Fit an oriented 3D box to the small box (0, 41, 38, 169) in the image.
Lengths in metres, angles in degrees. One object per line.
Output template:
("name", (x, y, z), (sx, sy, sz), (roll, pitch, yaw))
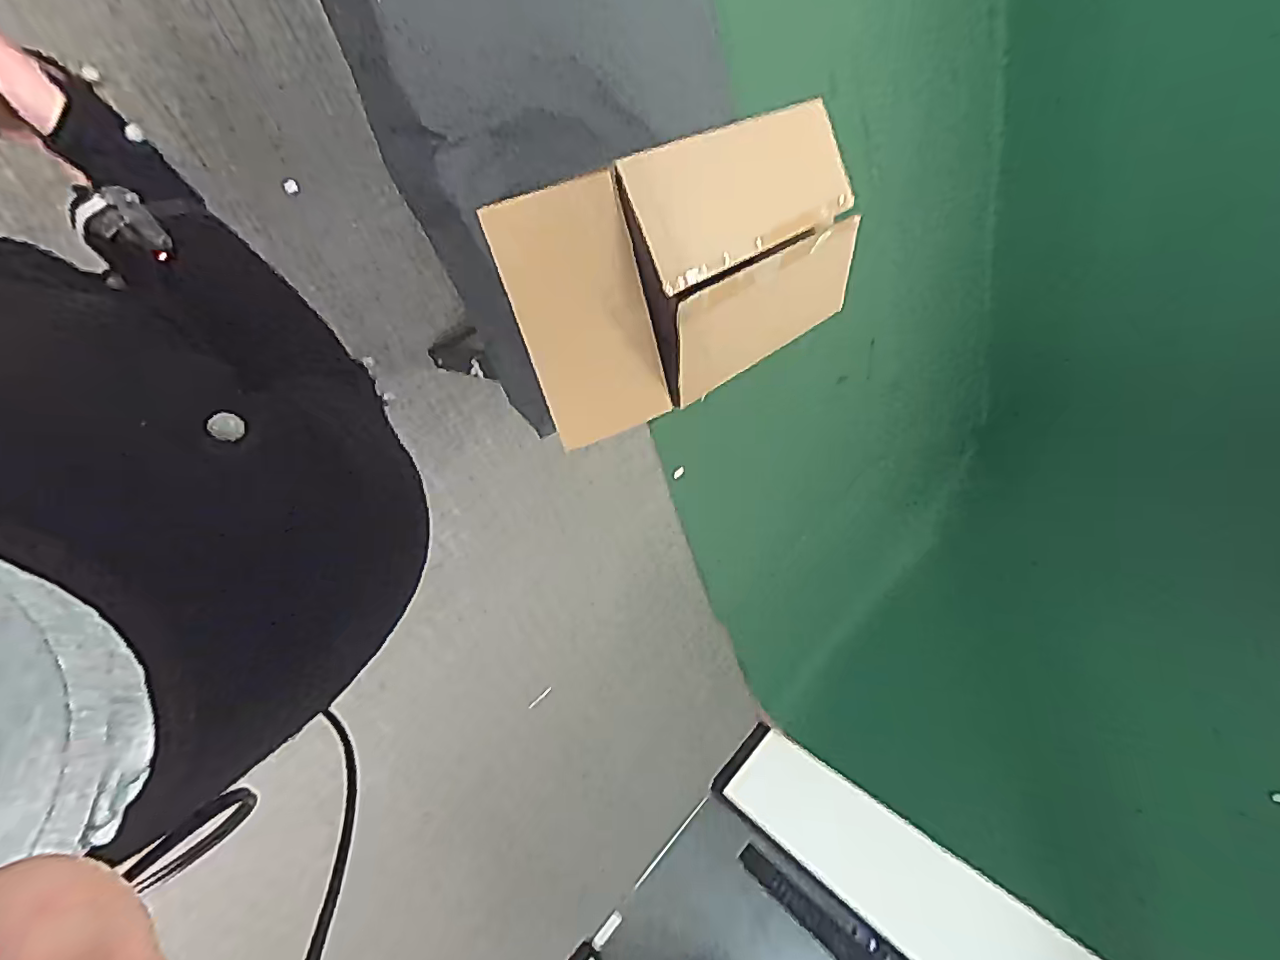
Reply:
("small box", (-0.579, -0.331, 0.373), (0.168, 0.176, 0.179), (-17, 118, -33))
